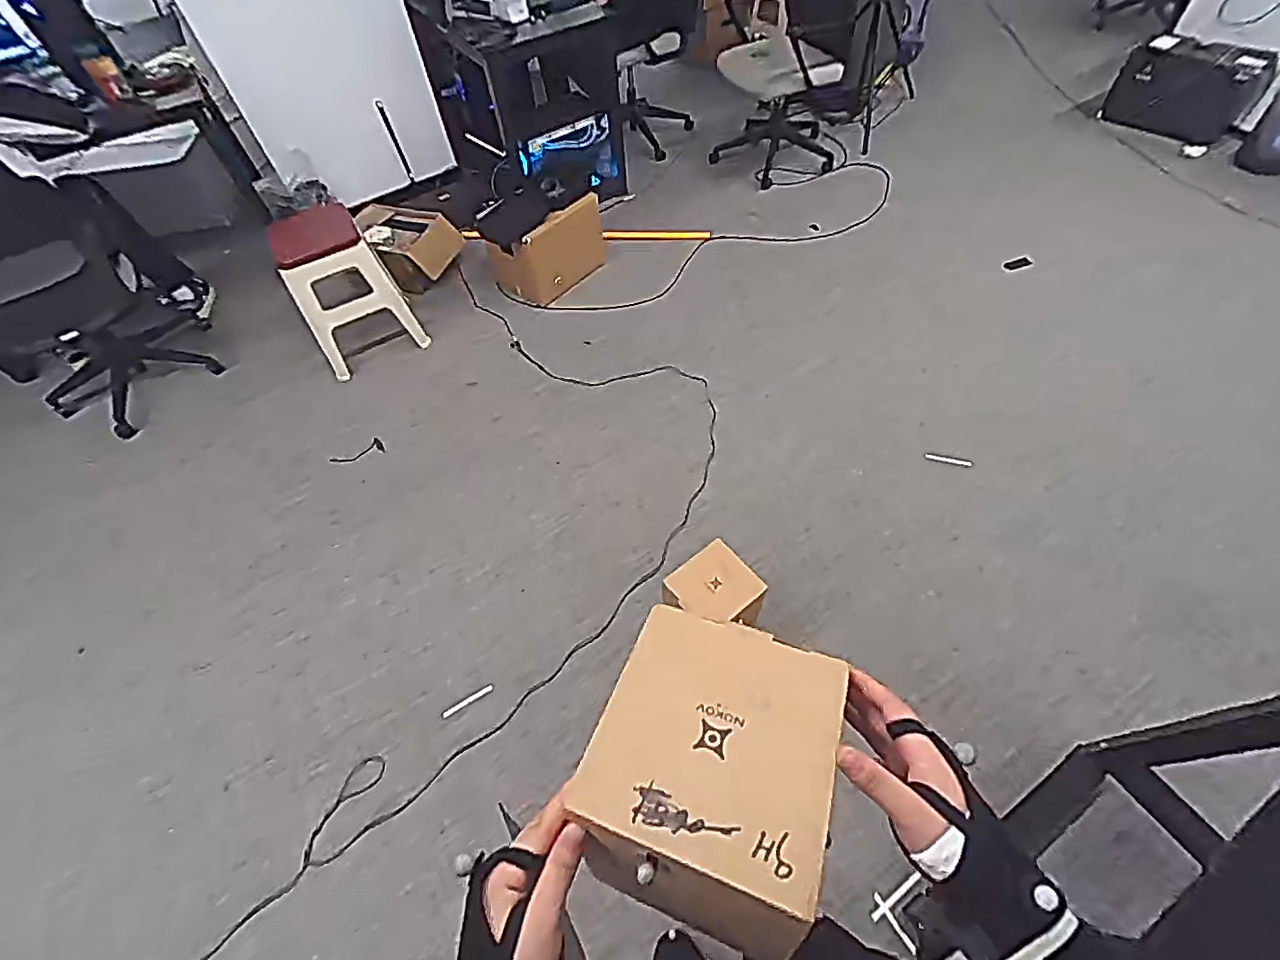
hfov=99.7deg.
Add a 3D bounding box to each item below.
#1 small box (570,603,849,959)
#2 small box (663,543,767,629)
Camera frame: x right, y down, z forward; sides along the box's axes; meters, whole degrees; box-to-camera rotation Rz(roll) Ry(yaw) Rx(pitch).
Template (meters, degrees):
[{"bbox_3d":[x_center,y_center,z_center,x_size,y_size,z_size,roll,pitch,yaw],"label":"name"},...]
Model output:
[{"bbox_3d":[0.061,0.240,0.446,0.168,0.176,0.179,13,43,20],"label":"small box"},{"bbox_3d":[0.173,0.289,1.275,0.179,0.176,0.168,-34,60,-19],"label":"small box"}]
